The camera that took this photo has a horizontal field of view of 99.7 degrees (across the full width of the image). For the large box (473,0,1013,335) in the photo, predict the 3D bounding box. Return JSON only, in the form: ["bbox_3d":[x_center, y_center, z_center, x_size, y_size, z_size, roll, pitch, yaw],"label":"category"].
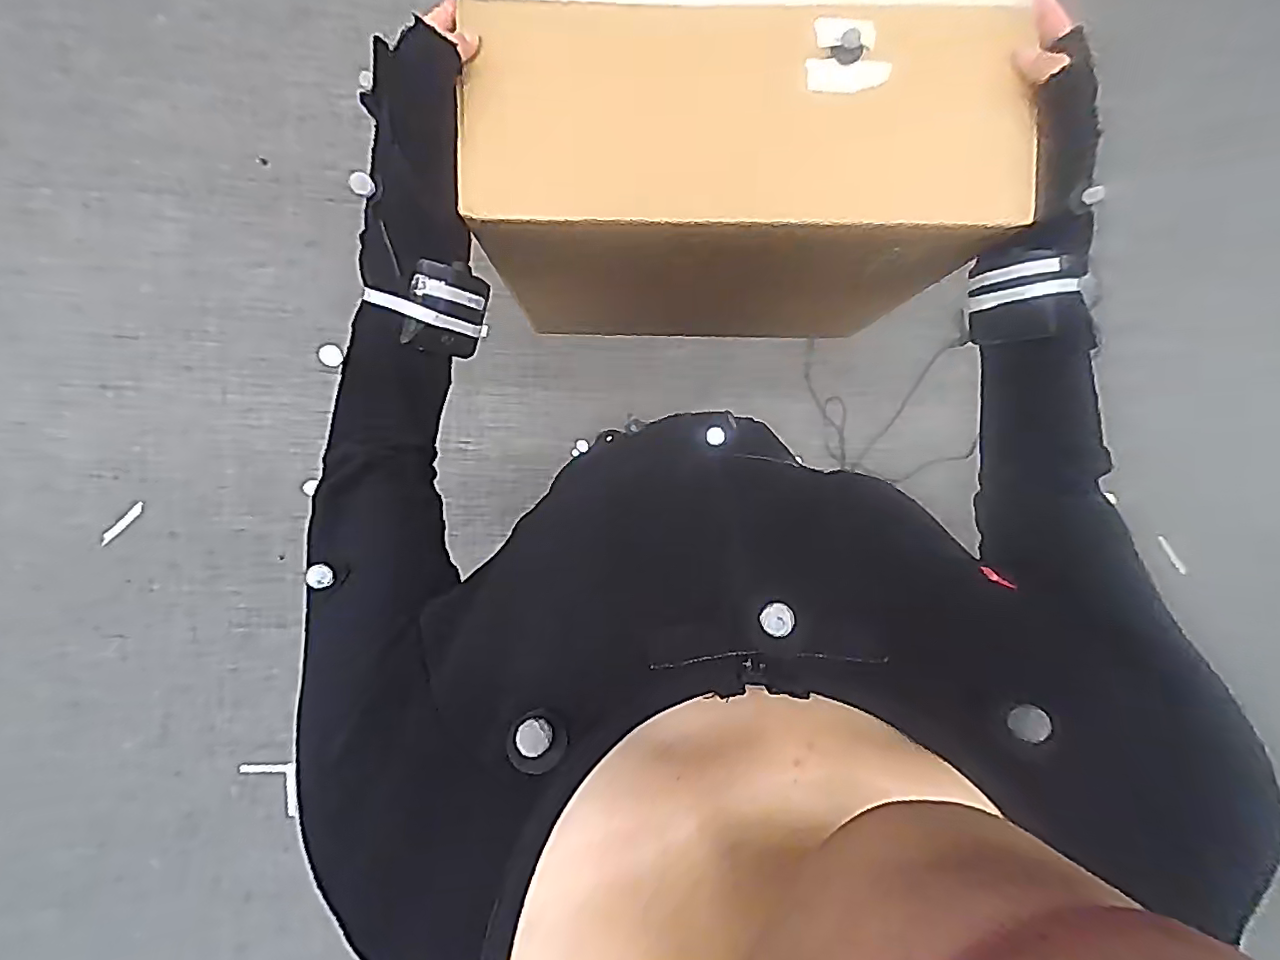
[{"bbox_3d":[0.071,-0.342,0.545,0.408,0.320,0.320,0,90,-1],"label":"large box"}]

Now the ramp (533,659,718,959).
[{"bbox_3d":[-0.037,1.009,1.490,0.509,0.206,0.991,1,95,1],"label":"ramp"}]
